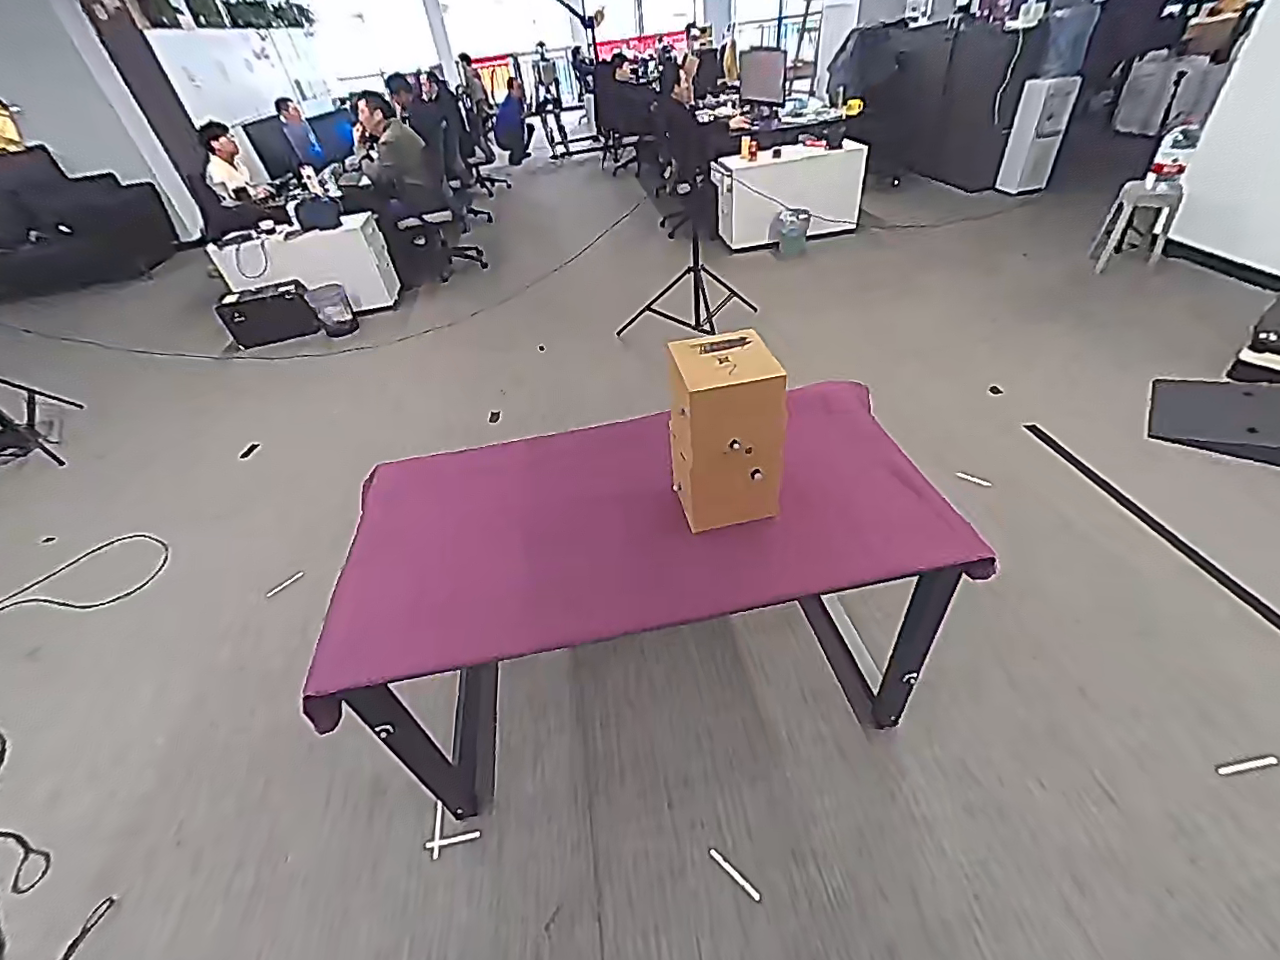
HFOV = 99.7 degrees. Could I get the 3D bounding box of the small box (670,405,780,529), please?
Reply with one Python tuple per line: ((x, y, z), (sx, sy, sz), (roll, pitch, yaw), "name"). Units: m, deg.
((0.166, -0.025, 1.090), (0.179, 0.176, 0.168), (-12, 40, -4), "small box")
